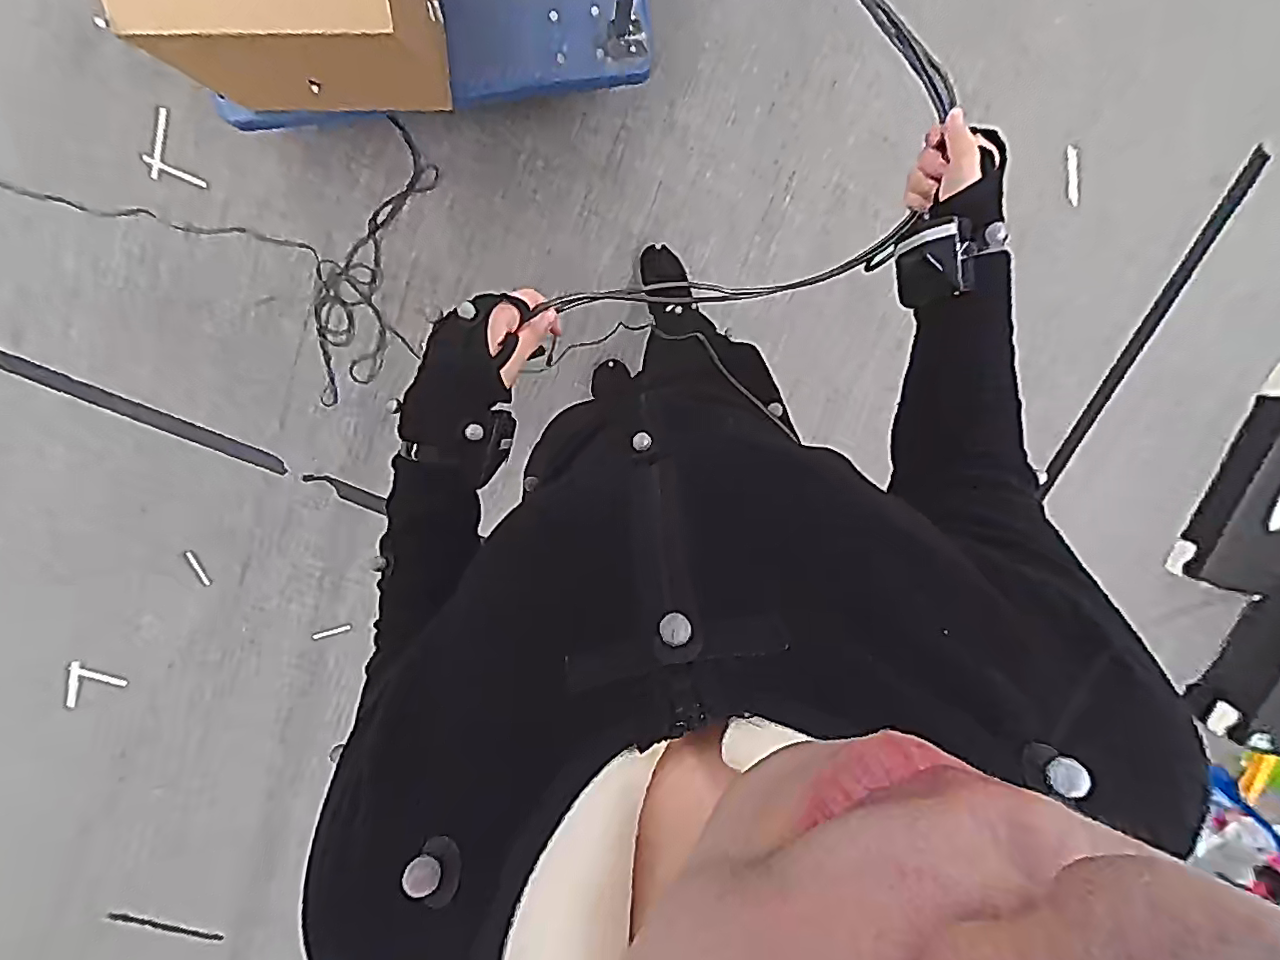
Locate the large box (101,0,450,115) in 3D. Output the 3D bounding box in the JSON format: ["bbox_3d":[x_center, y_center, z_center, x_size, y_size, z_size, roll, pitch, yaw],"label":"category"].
[{"bbox_3d":[-0.570,-0.824,0.881,0.408,0.320,0.320,-2,106,-2],"label":"large box"}]
